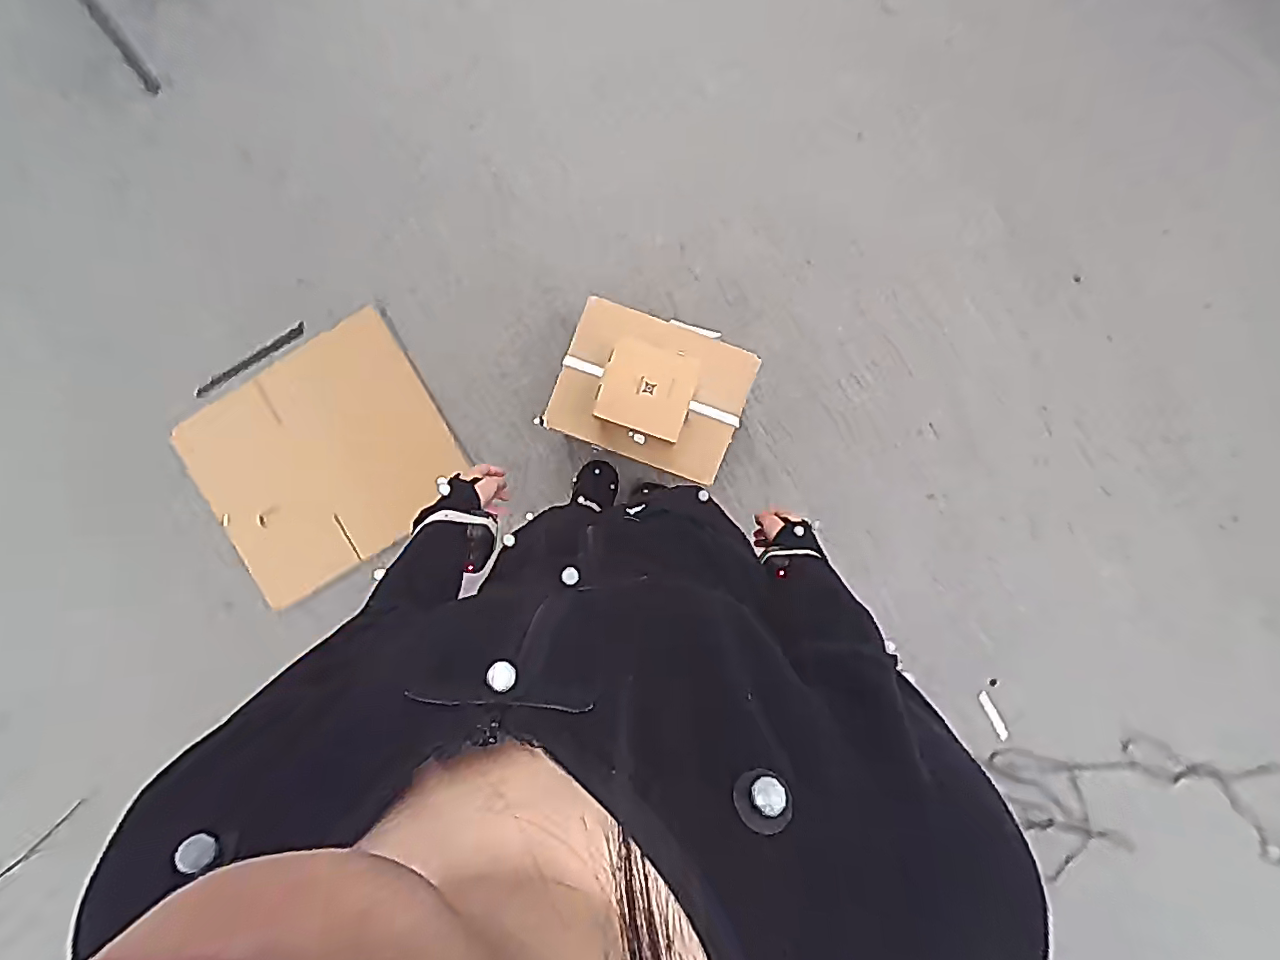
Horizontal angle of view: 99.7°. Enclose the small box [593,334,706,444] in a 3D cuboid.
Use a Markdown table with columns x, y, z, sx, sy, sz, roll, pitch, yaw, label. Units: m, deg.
| x | y | z | sx | sy | sz | roll | pitch | yaw | label |
| --- | --- | --- | --- | --- | --- | --- | --- | --- | --- |
| 0.020 | -0.175 | 1.102 | 0.179 | 0.176 | 0.168 | 19 | 93 | 1 | small box |
